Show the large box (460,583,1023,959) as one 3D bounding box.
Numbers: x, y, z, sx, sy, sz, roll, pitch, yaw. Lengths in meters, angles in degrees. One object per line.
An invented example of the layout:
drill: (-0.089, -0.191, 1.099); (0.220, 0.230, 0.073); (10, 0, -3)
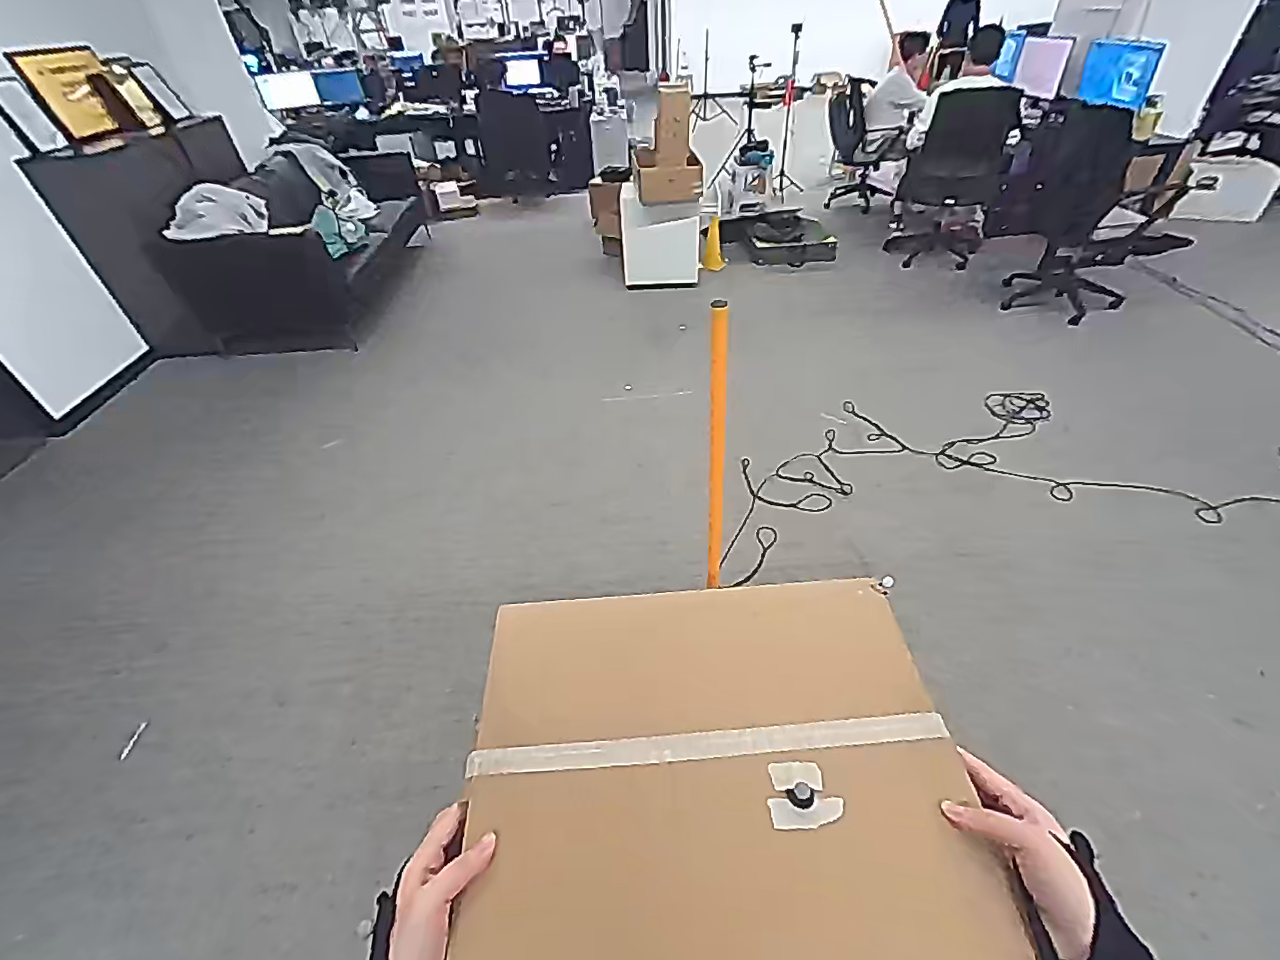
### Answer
large box: (0.064, 0.339, 0.577); (0.408, 0.320, 0.320); (-4, 45, -1)
